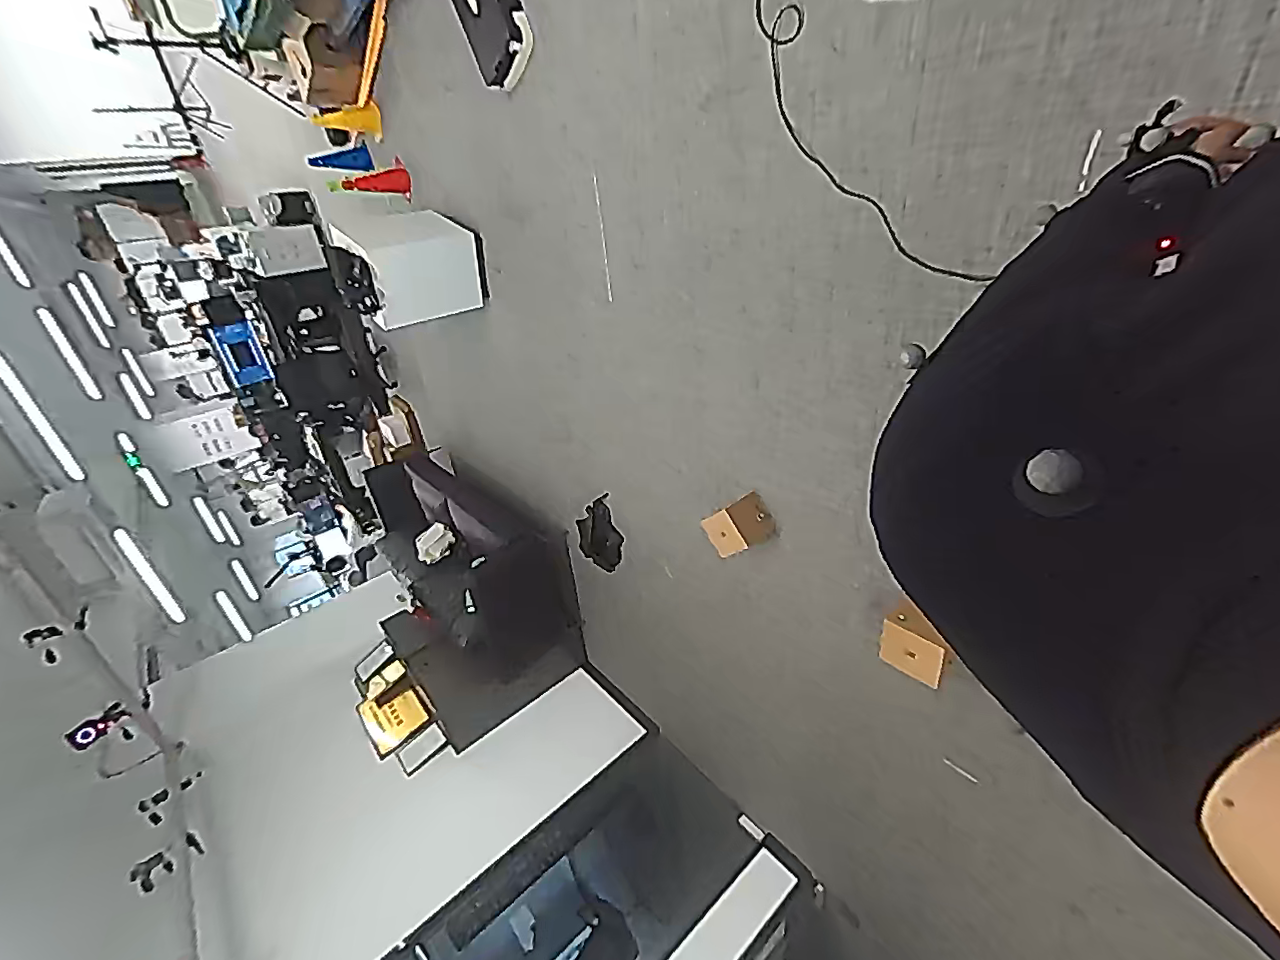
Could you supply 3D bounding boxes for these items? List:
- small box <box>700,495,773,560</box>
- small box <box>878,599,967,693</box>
[{"bbox_3d":[0.368,0.180,2.050,0.168,0.176,0.179,58,147,5],"label":"small box"},{"bbox_3d":[0.834,0.480,1.596,0.179,0.176,0.168,25,132,46],"label":"small box"}]
